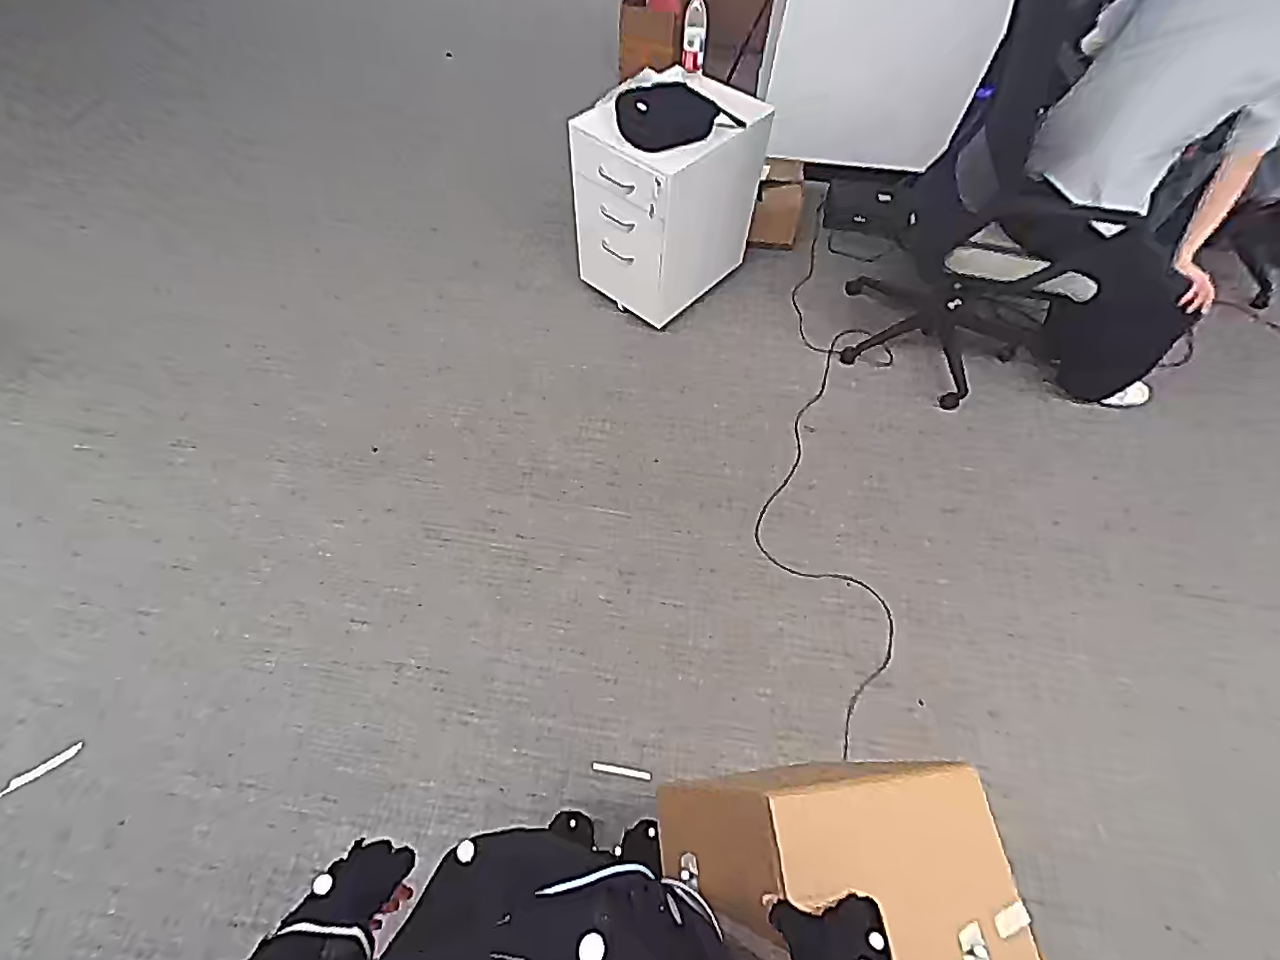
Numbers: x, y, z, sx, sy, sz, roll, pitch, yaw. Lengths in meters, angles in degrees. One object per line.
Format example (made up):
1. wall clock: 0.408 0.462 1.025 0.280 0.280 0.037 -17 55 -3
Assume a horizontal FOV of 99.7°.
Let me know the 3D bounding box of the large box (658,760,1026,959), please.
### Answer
1. large box: 0.247 0.598 0.771 0.320 0.408 0.320 2 62 -16
